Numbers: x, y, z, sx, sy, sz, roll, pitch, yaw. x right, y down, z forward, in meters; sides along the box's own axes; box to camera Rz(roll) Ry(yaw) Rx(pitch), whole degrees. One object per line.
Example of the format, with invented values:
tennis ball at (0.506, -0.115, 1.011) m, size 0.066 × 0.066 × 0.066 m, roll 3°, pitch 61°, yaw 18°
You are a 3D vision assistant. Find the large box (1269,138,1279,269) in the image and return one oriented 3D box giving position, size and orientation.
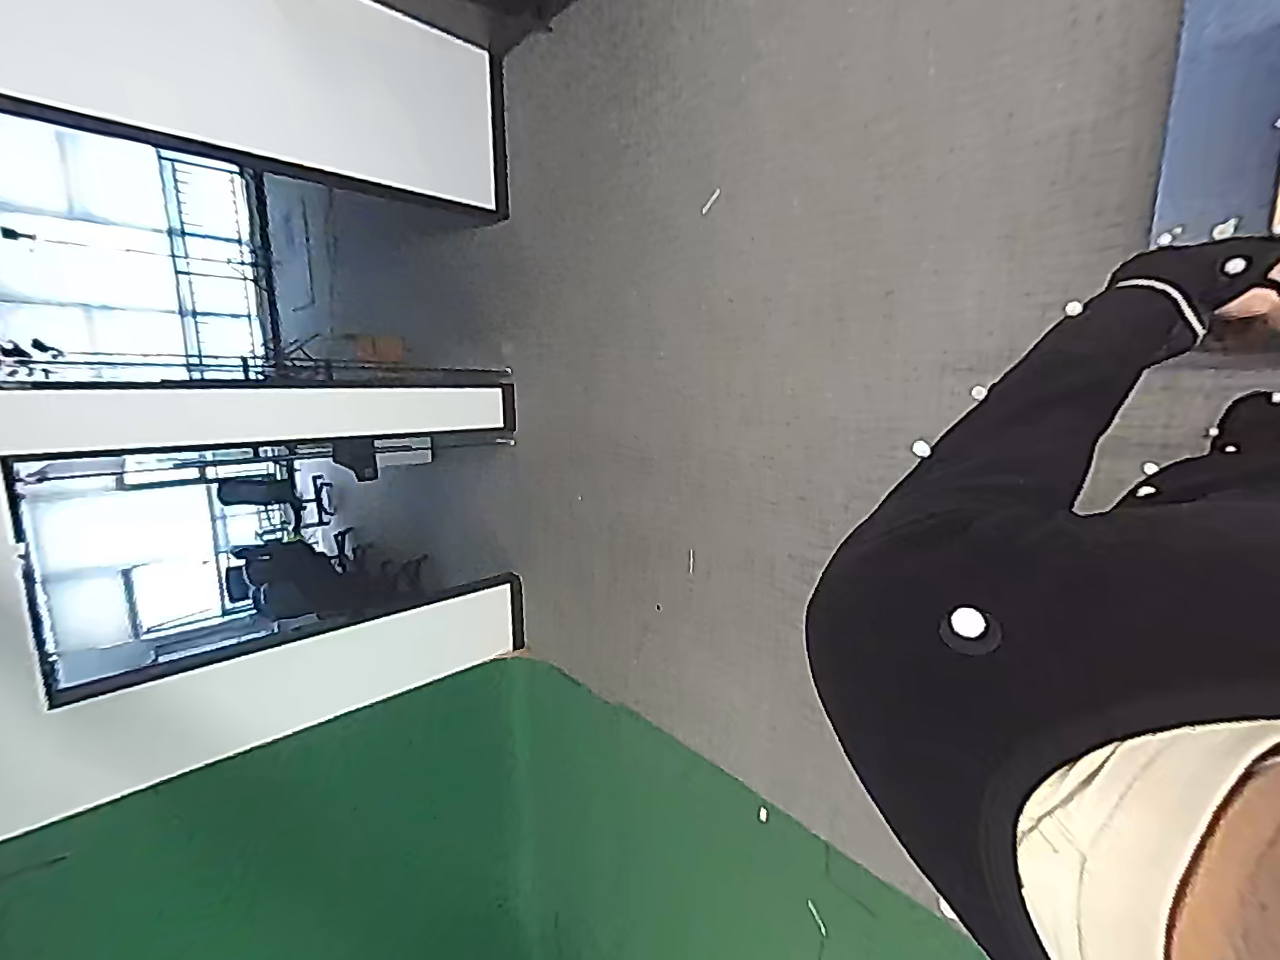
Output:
large box at (1.084, -0.533, 0.707) m, size 0.320 × 0.320 × 0.408 m, roll 9°, pitch 103°, yaw 46°
